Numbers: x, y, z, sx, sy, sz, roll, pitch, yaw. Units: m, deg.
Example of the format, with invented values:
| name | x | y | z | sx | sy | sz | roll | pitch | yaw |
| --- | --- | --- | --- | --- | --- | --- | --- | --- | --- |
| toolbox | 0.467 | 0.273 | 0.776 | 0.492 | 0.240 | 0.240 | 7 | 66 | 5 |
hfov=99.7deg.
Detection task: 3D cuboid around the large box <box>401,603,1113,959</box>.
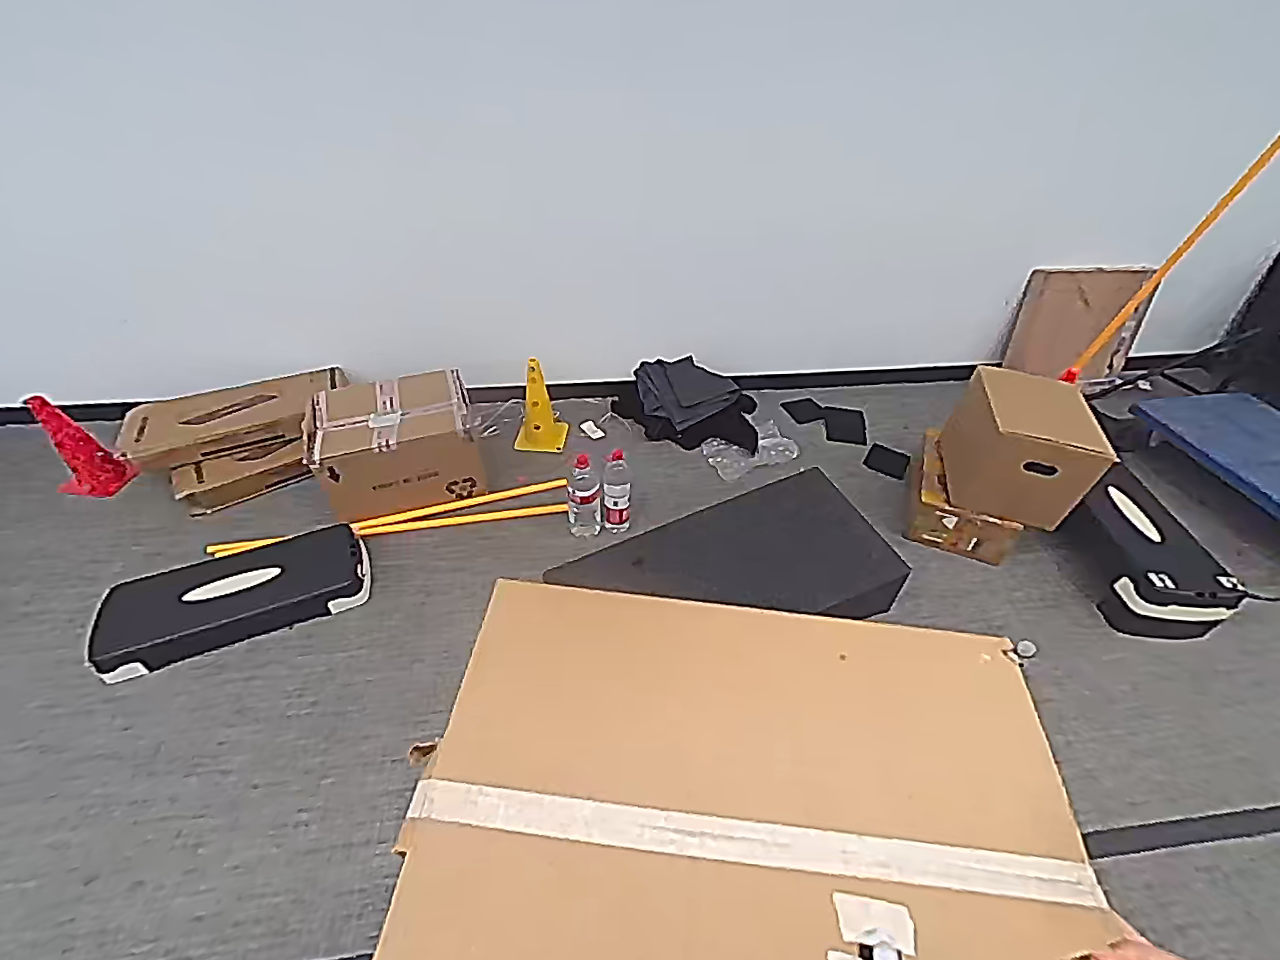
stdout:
| name | x | y | z | sx | sy | sz | roll | pitch | yaw |
| --- | --- | --- | --- | --- | --- | --- | --- | --- | --- |
| large box | 0.064 | 0.328 | 0.442 | 0.408 | 0.320 | 0.320 | 6 | 49 | 2 |
